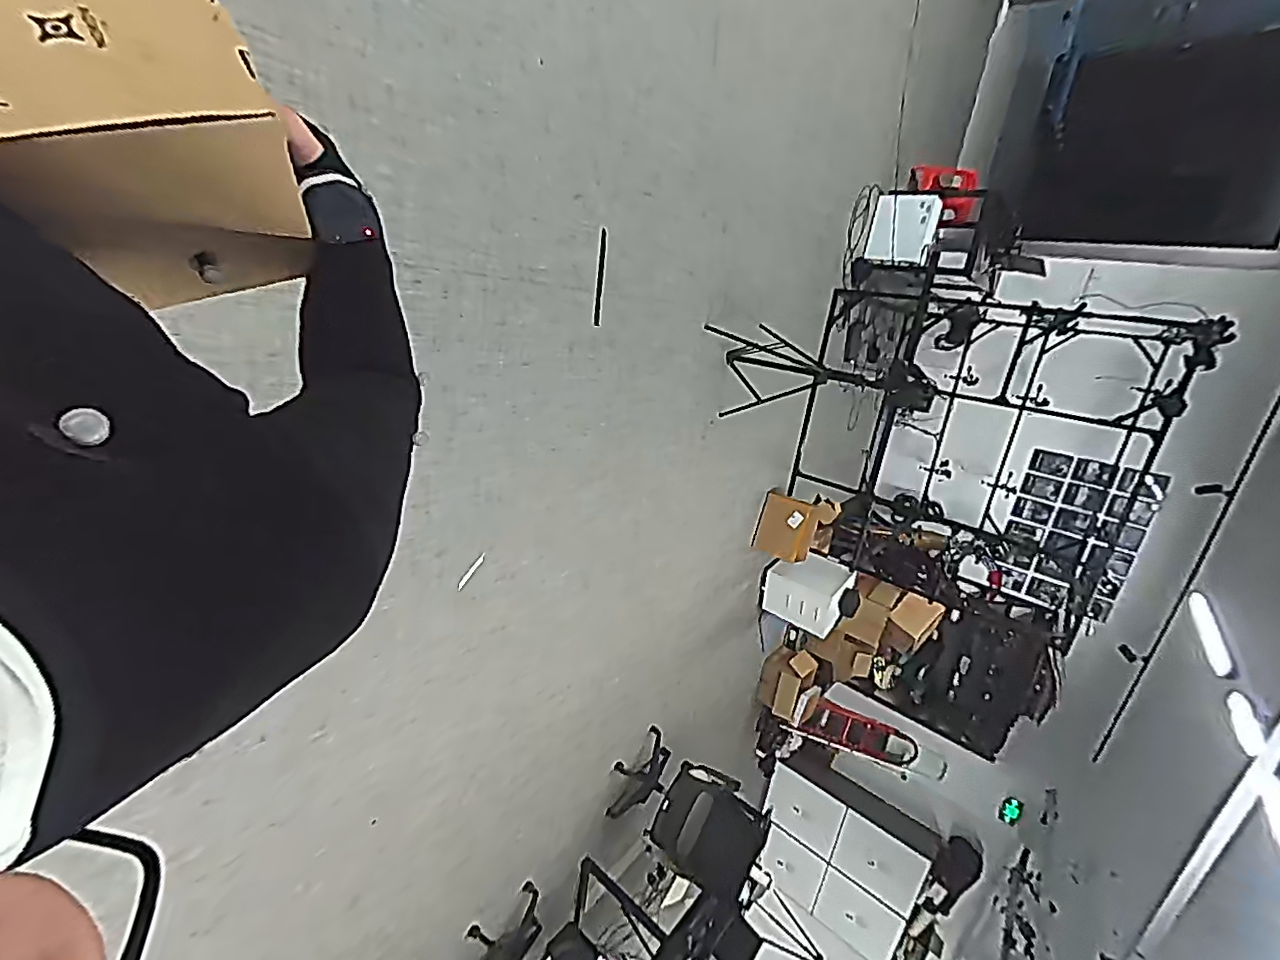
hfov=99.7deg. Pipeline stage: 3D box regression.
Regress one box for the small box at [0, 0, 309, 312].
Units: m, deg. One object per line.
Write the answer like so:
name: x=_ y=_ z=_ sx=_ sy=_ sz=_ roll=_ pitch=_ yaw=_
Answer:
small box: x=-0.398 y=-0.268 z=0.441 sx=0.179 sy=0.168 sz=0.176 roll=-27 pitch=171 yaw=-27
